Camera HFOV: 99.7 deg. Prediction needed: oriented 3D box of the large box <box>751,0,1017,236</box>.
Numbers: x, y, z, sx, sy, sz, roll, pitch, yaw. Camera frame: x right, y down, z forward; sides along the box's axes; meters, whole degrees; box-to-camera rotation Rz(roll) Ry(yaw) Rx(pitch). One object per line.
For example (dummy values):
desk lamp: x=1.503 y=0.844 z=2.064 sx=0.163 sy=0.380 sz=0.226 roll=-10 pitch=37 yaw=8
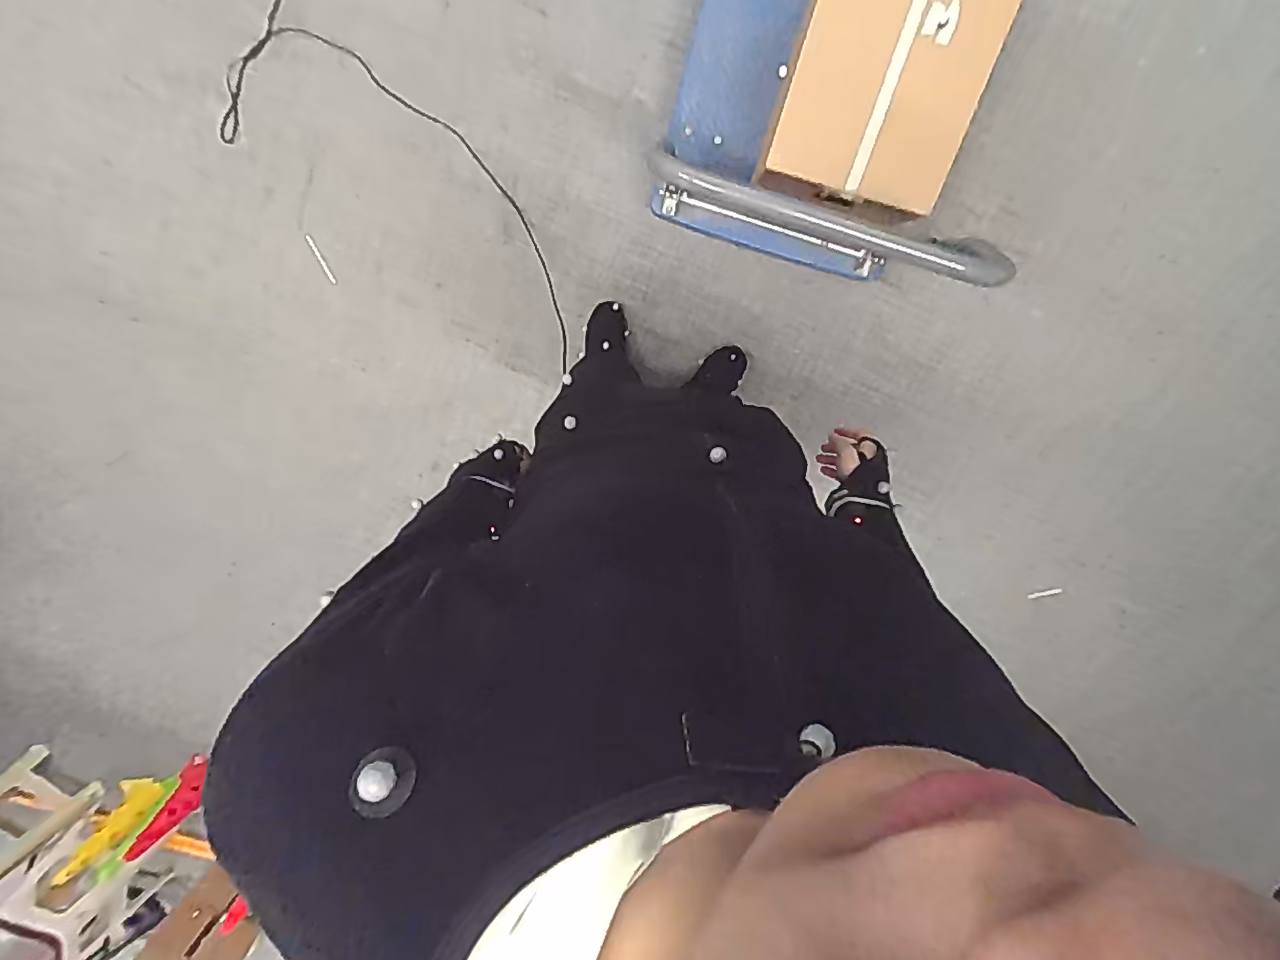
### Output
large box: x=0.436 y=-0.736 z=1.049 sx=0.320 sy=0.320 sz=0.408 roll=16 pitch=109 yaw=-2
